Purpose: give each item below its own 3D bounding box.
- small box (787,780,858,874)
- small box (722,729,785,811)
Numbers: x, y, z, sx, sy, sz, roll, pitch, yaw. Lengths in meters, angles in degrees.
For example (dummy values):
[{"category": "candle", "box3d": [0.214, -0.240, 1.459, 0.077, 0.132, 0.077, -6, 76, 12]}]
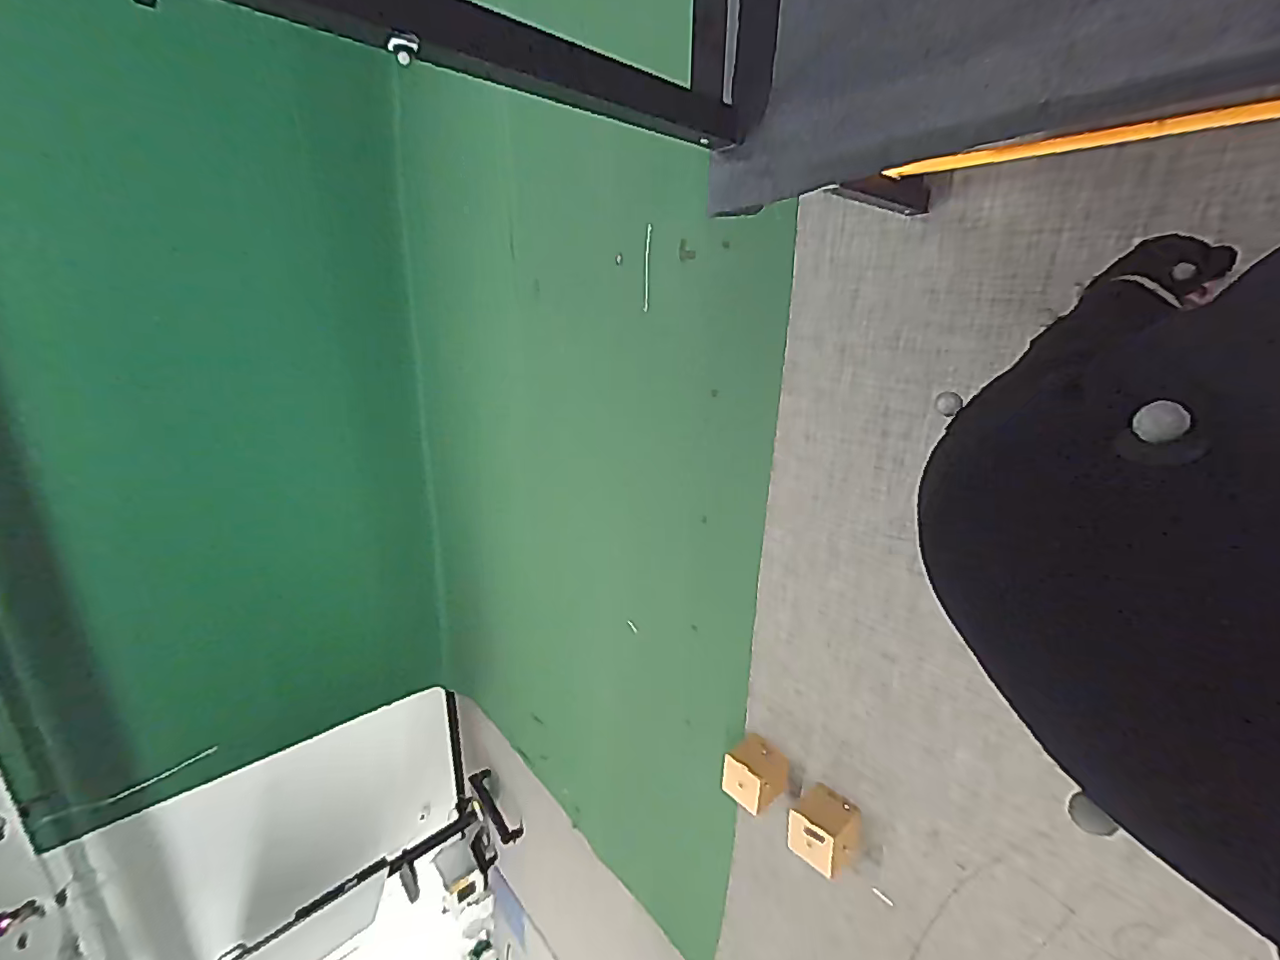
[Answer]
[{"category": "small box", "box3d": [0.624, 1.172, 1.844, 0.168, 0.176, 0.179, 15, 113, 47]}, {"category": "small box", "box3d": [0.431, 1.094, 2.049, 0.168, 0.176, 0.179, 20, 115, 44]}]
